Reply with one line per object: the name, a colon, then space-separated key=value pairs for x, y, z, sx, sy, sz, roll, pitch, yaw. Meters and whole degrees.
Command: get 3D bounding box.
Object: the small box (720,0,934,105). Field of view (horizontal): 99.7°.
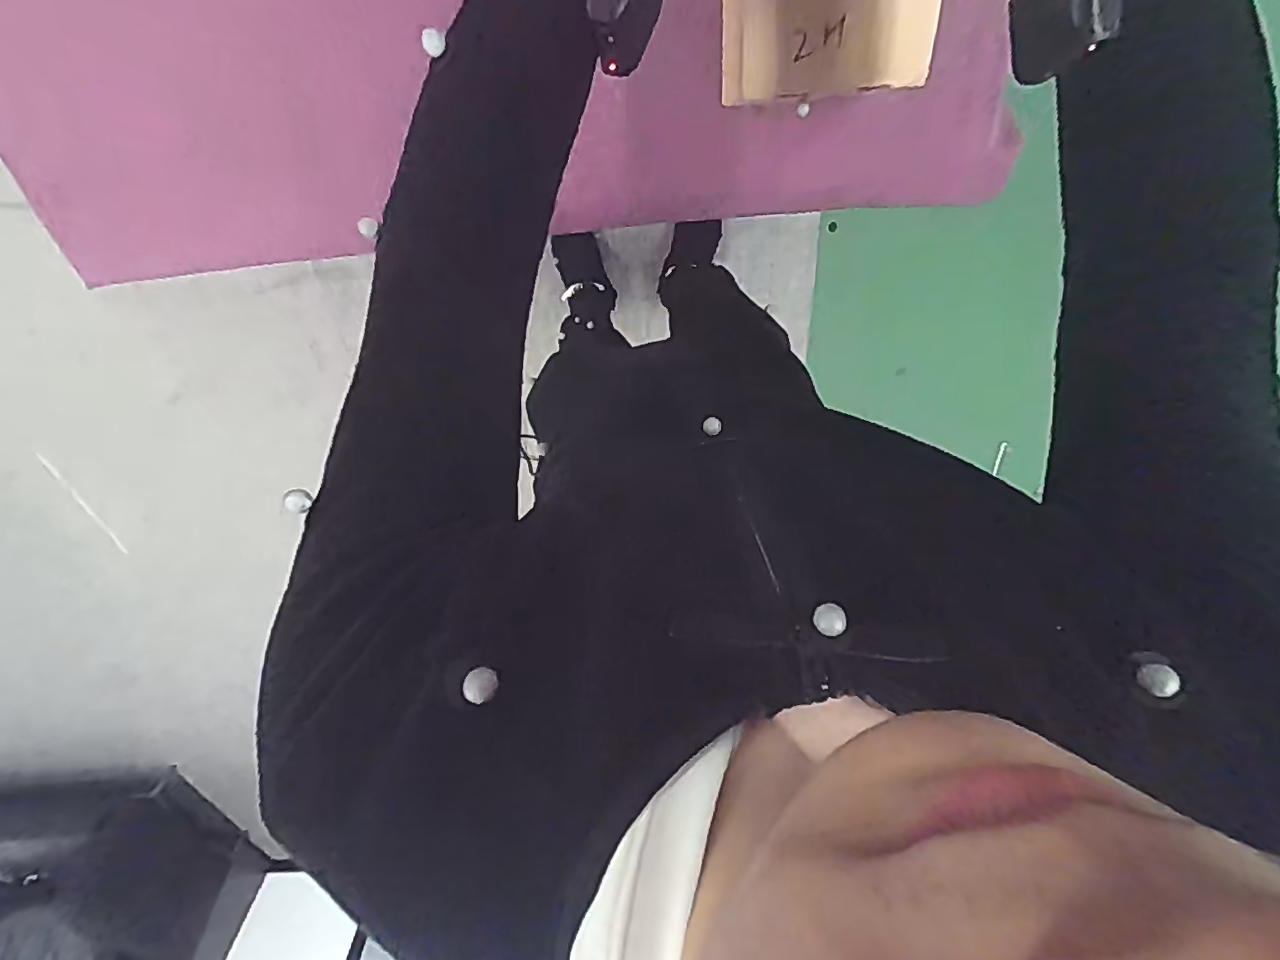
small box: x=0.165 y=-0.466 z=0.507 sx=0.168 sy=0.176 sz=0.179 roll=-2 pitch=123 yaw=4
